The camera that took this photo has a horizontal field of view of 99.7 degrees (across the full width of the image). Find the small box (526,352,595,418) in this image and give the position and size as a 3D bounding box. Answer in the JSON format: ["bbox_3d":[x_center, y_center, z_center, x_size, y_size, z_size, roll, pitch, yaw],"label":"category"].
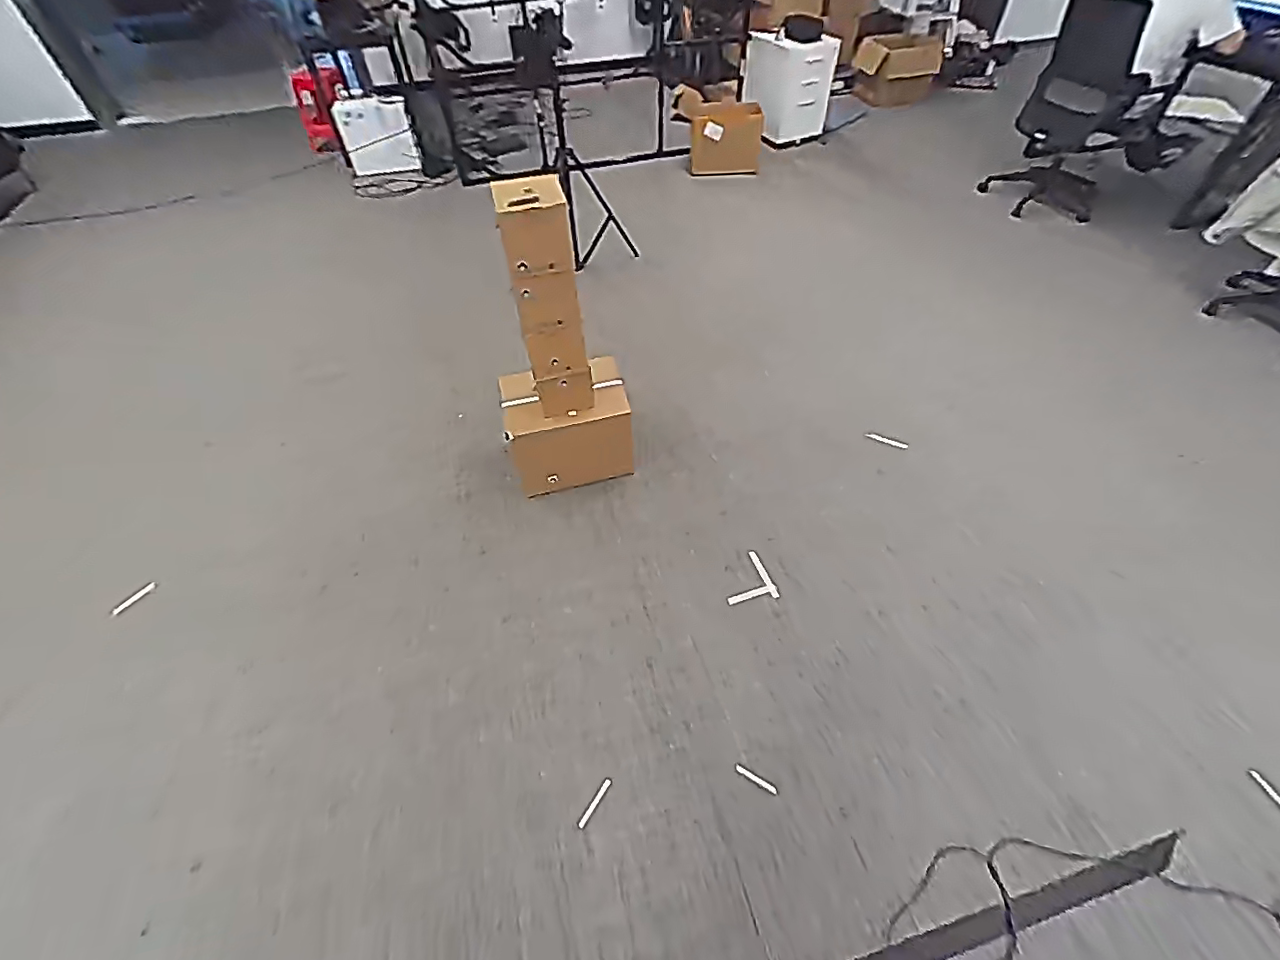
[{"bbox_3d":[-0.253,-0.322,1.742,0.179,0.176,0.168,-14,52,-11],"label":"small box"}]

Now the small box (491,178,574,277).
[{"bbox_3d":[-0.267,-0.625,1.356,0.168,0.176,0.179,-12,51,-8],"label":"small box"}]

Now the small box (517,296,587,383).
[{"bbox_3d":[-0.260,-0.419,1.611,0.168,0.176,0.179,-14,52,-9],"label":"small box"}]
